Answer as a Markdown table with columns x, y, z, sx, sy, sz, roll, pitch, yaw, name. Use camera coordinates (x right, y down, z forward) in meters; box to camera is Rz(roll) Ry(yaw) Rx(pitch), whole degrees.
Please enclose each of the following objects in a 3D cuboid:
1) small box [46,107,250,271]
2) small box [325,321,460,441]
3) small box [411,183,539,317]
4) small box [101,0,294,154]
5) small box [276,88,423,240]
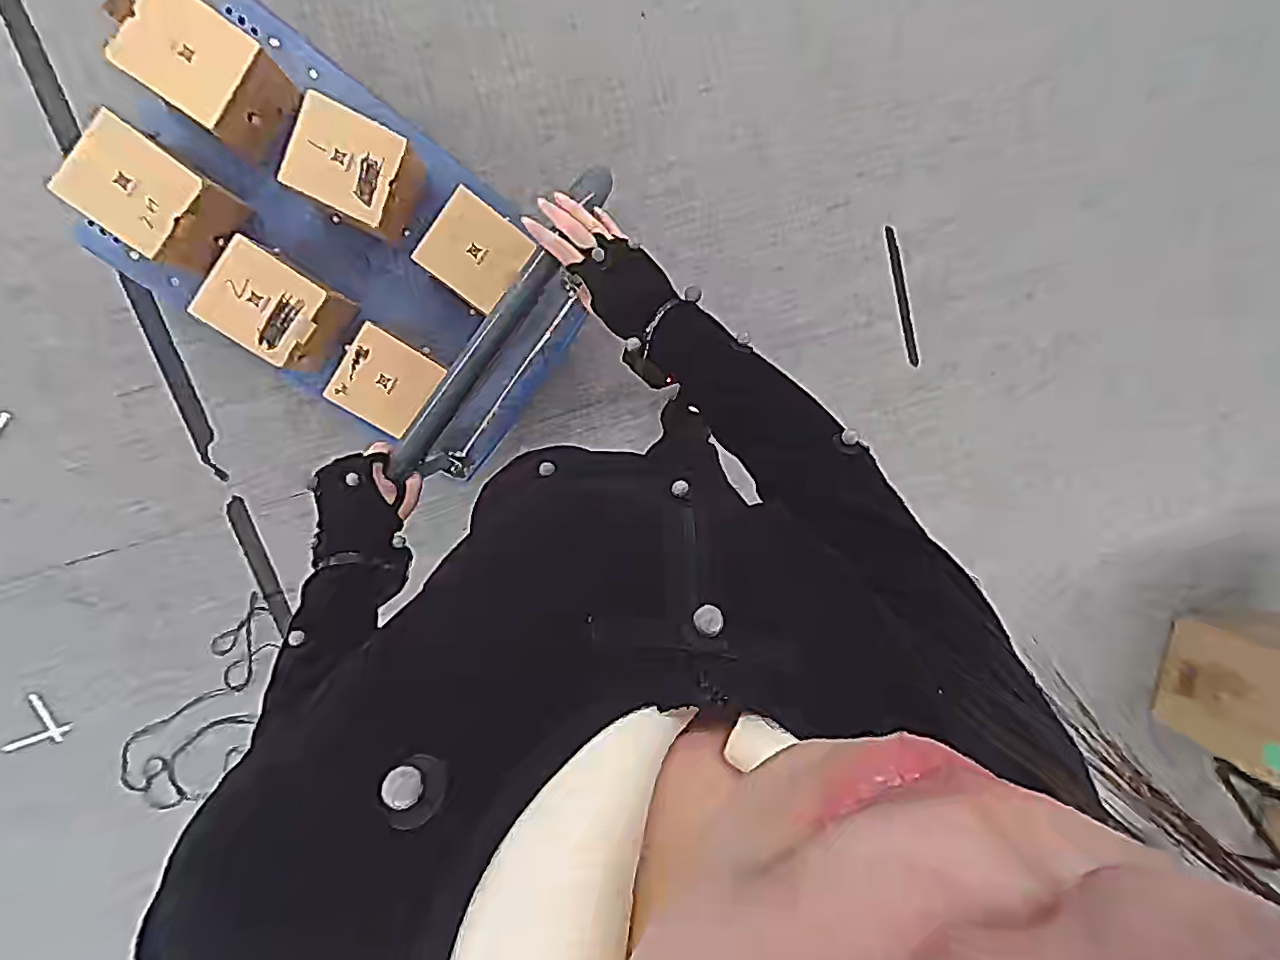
| x | y | z | sx | sy | sz | roll | pitch | yaw | name |
| --- | --- | --- | --- | --- | --- | --- | --- | --- | --- |
| -0.863 | -0.503 | 0.970 | 0.179 | 0.176 | 0.168 | 37 | 93 | -15 | small box |
| -0.488 | -0.200 | 1.097 | 0.179 | 0.176 | 0.168 | 31 | 93 | -15 | small box |
| -0.319 | -0.445 | 1.085 | 0.179 | 0.176 | 0.168 | 35 | 92 | -14 | small box |
| -0.758 | -0.713 | 0.952 | 0.179 | 0.176 | 0.168 | 32 | 94 | -15 | small box |
| -0.532 | -0.575 | 1.019 | 0.179 | 0.176 | 0.168 | 22 | 96 | -13 | small box |
